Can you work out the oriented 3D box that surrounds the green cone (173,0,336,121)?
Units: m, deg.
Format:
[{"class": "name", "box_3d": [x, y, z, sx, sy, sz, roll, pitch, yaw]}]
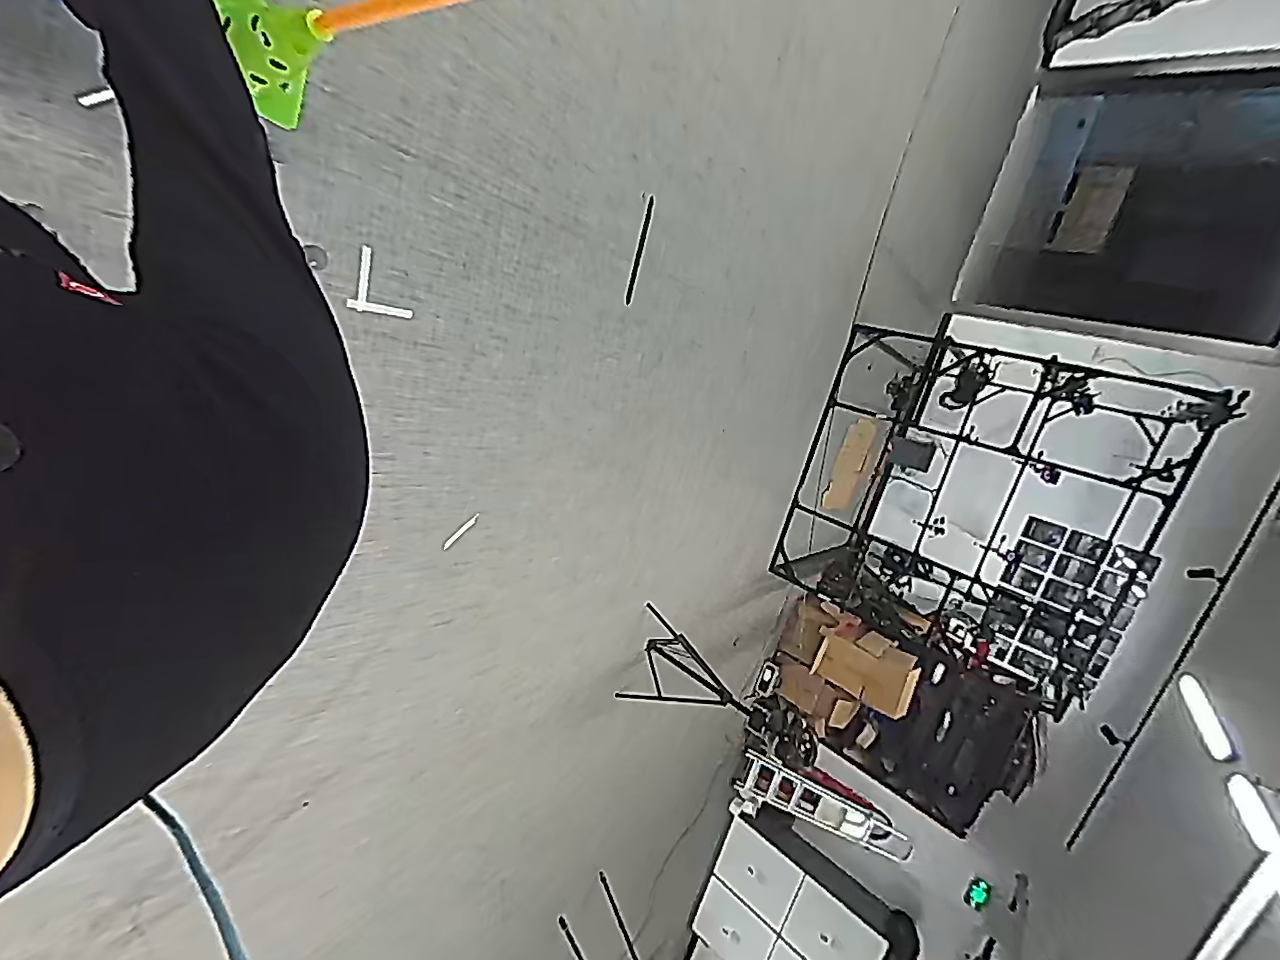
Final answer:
[{"class": "green cone", "box_3d": [-0.650, -0.793, 0.965, 0.202, 0.368, 0.200, 3, 108, -55]}]
